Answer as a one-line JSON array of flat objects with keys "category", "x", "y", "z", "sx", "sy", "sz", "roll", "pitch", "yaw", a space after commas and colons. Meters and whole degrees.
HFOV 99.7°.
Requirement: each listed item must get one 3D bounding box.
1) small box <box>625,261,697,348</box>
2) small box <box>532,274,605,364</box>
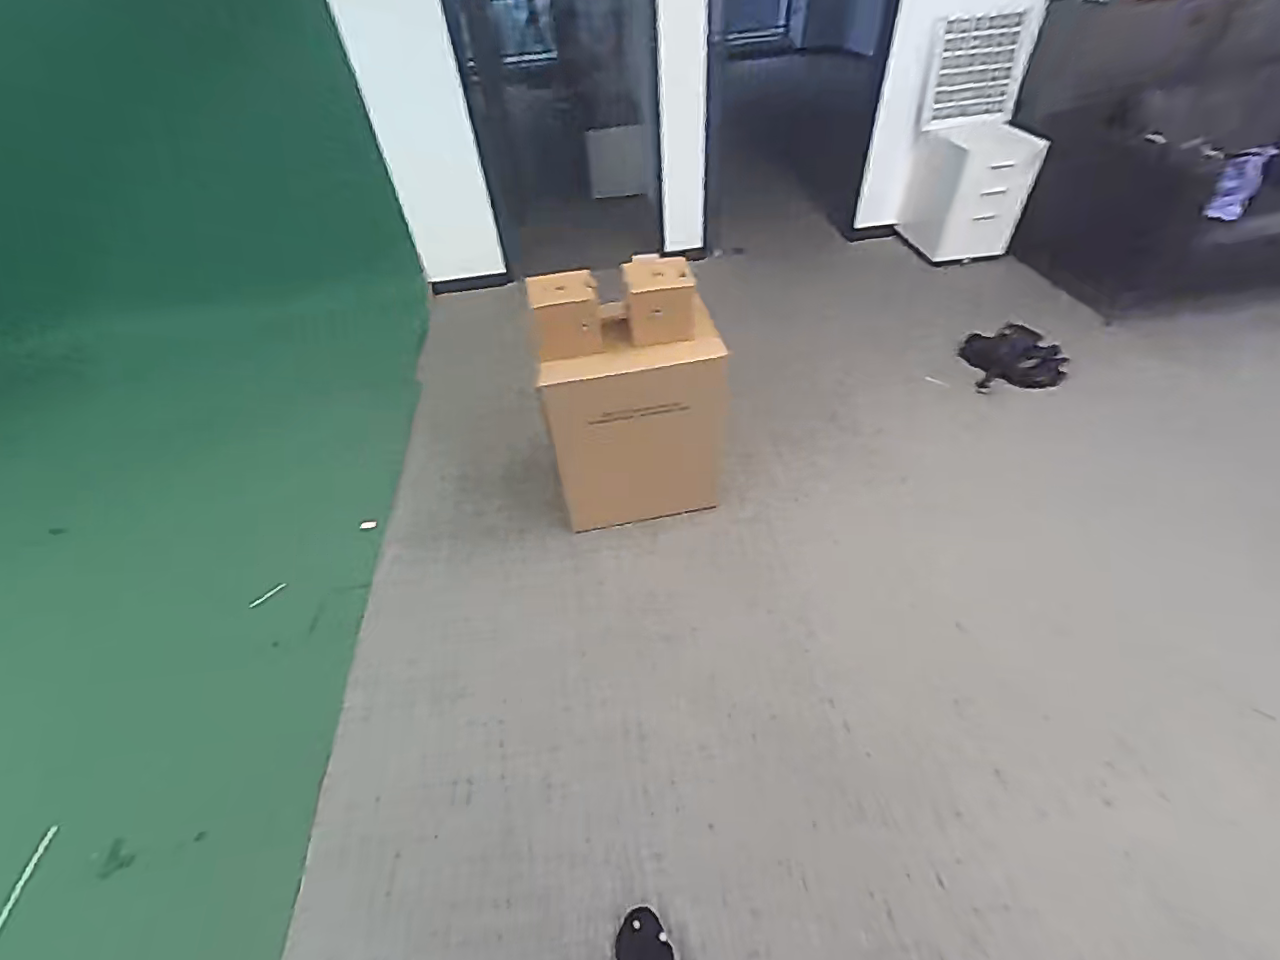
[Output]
[{"category": "small box", "x": 0.061, "y": -0.492, "z": 1.529, "sx": 0.179, "sy": 0.176, "sz": 0.168, "roll": -9, "pitch": 49, "yaw": -3}, {"category": "small box", "x": -0.197, "y": -0.448, "z": 1.509, "sx": 0.179, "sy": 0.176, "sz": 0.168, "roll": -11, "pitch": 48, "yaw": -5}]
